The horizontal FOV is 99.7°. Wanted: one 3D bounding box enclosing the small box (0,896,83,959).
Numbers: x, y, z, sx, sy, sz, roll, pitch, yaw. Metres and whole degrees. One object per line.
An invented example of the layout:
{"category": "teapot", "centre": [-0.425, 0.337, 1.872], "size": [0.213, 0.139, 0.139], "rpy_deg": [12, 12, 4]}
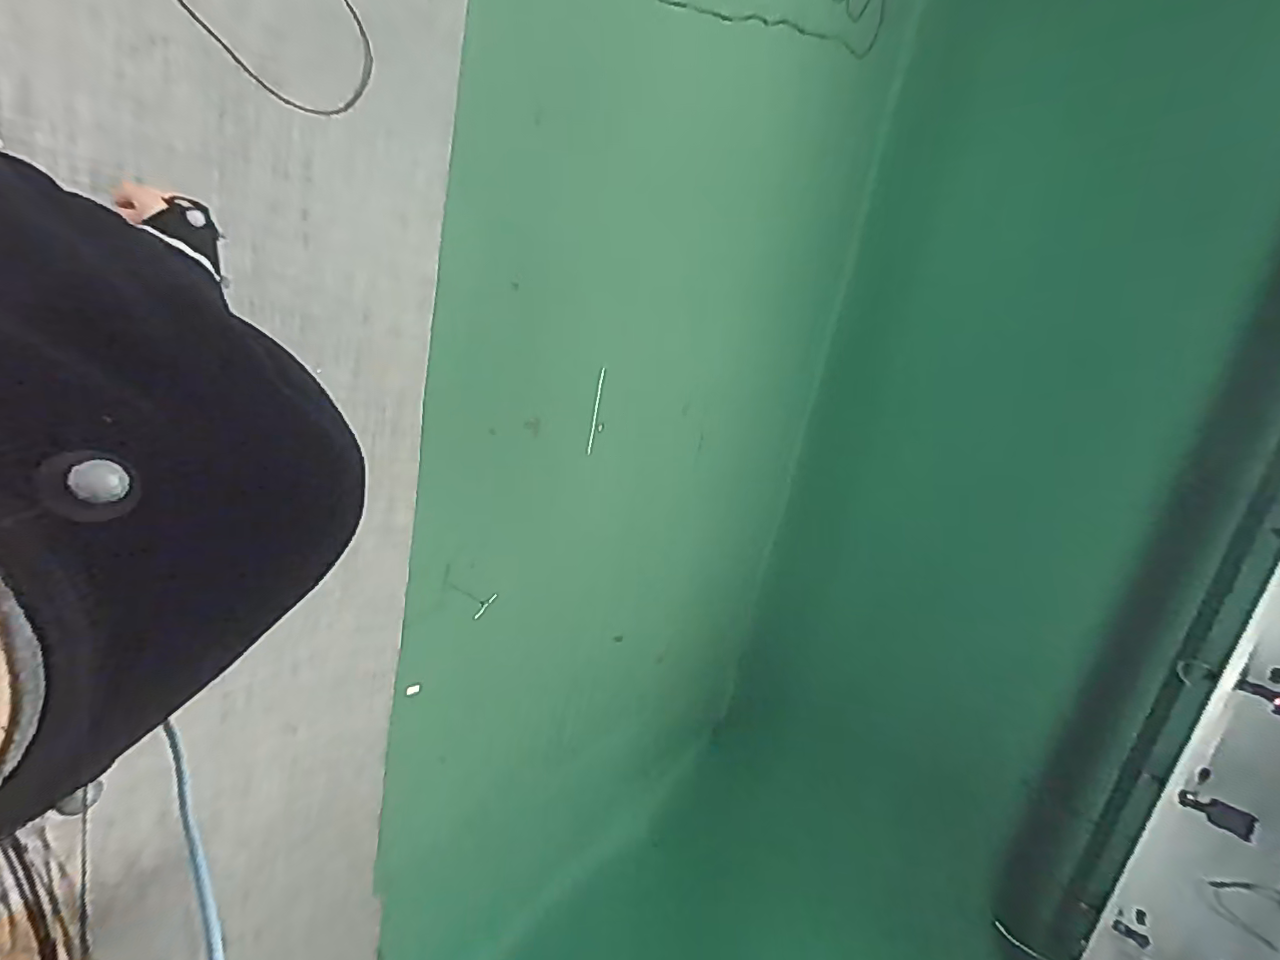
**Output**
{"category": "small box", "centre": [-1.388, 1.107, 1.215], "size": [0.179, 0.176, 0.168], "rpy_deg": [-15, 119, -51]}

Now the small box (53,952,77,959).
{"category": "small box", "centre": [-1.263, 1.149, 1.116], "size": [0.179, 0.176, 0.168], "rpy_deg": [-15, 118, -51]}
